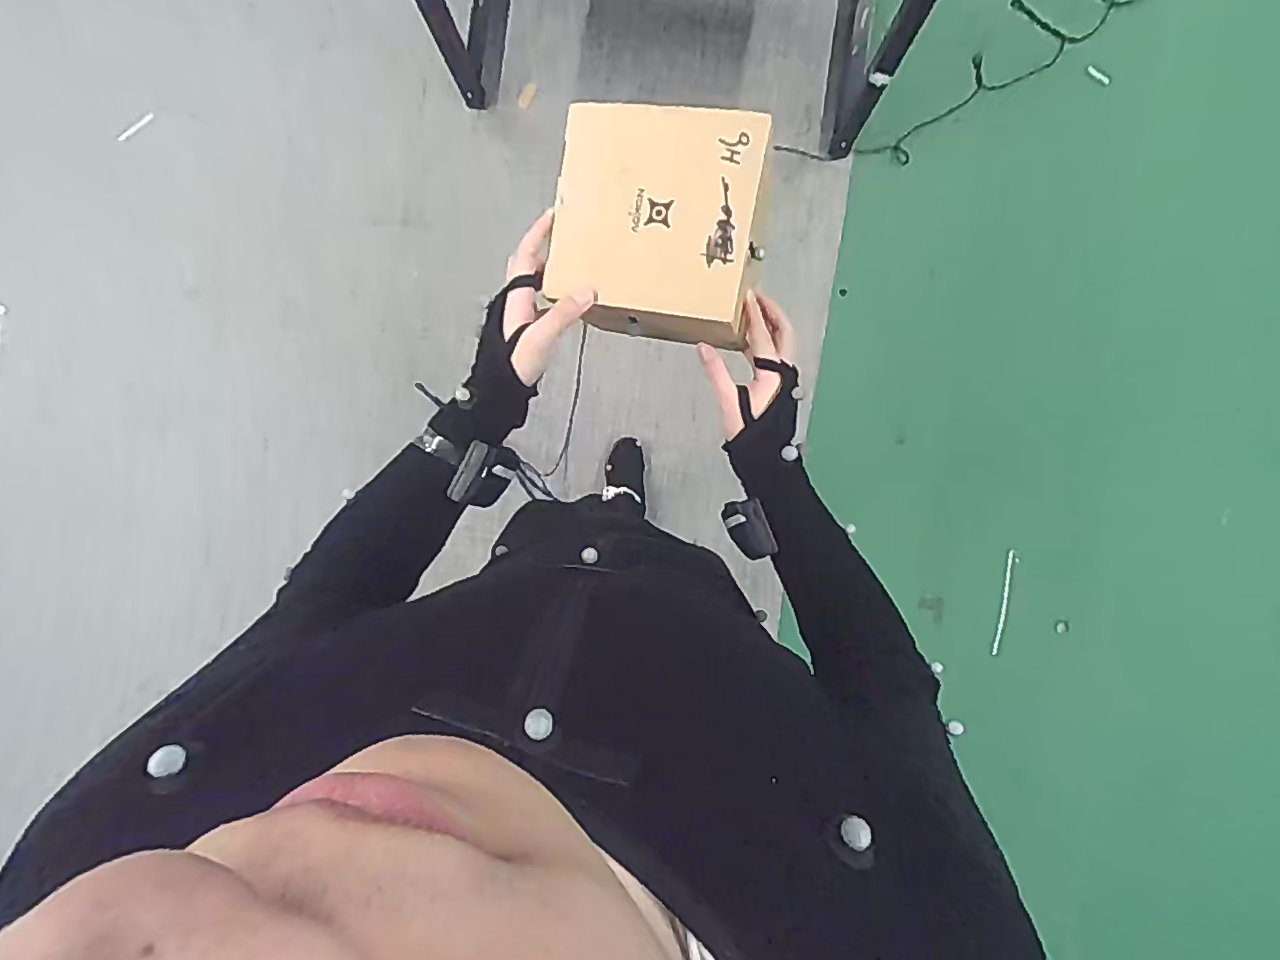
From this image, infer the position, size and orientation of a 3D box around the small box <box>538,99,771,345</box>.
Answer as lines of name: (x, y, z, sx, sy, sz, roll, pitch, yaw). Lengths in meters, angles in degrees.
small box: (0.025, -0.236, 0.532, 0.179, 0.176, 0.168, 12, 98, 13)
